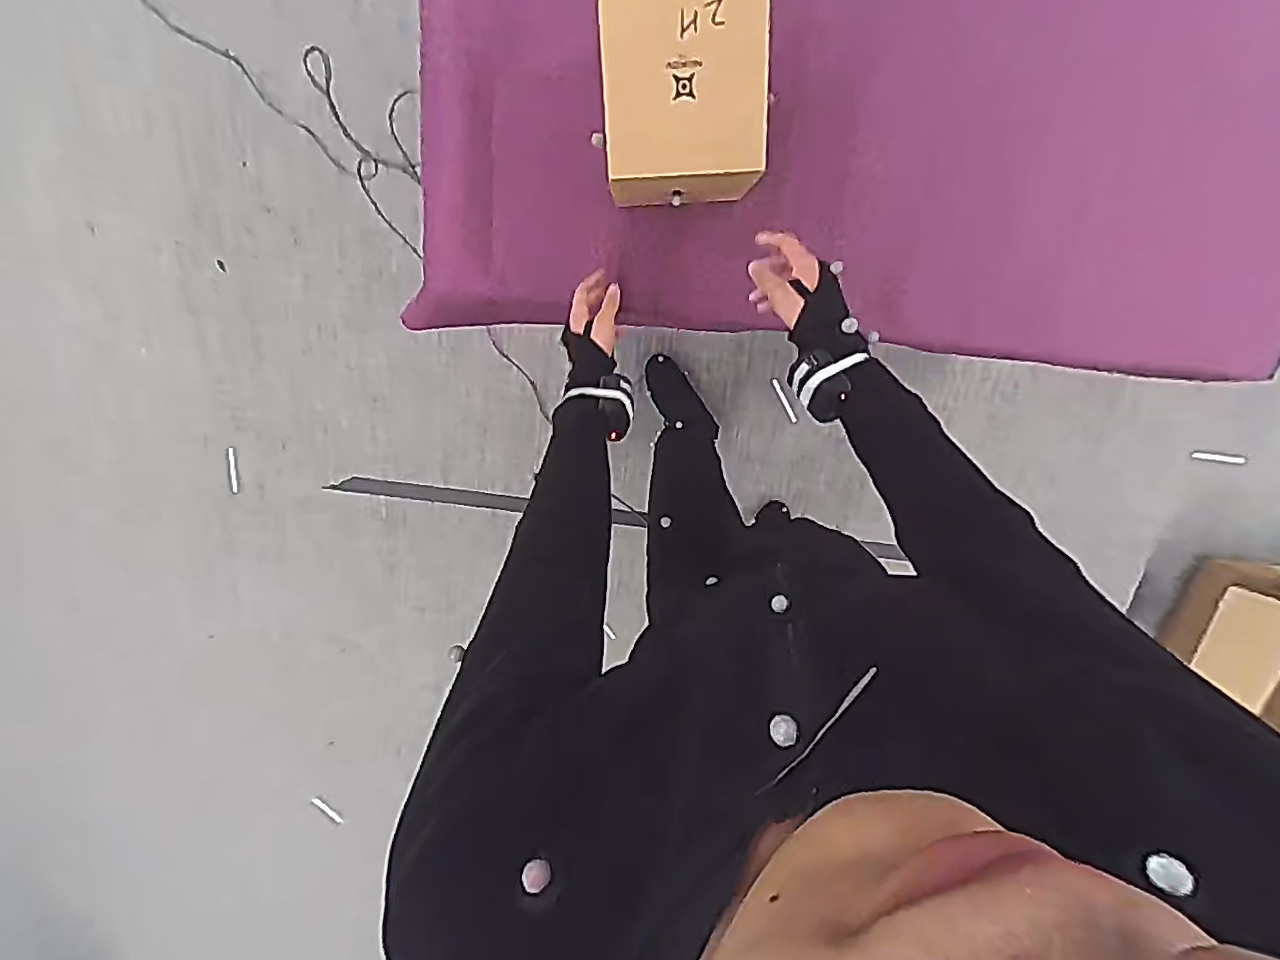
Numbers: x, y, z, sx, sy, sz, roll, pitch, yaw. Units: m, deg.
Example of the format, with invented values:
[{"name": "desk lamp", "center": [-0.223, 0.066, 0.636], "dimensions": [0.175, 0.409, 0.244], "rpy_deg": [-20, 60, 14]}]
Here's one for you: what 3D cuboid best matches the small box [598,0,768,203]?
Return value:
[{"name": "small box", "center": [0.044, -0.422, 0.613], "dimensions": [0.168, 0.176, 0.179], "rpy_deg": [-2, 108, 1]}]
